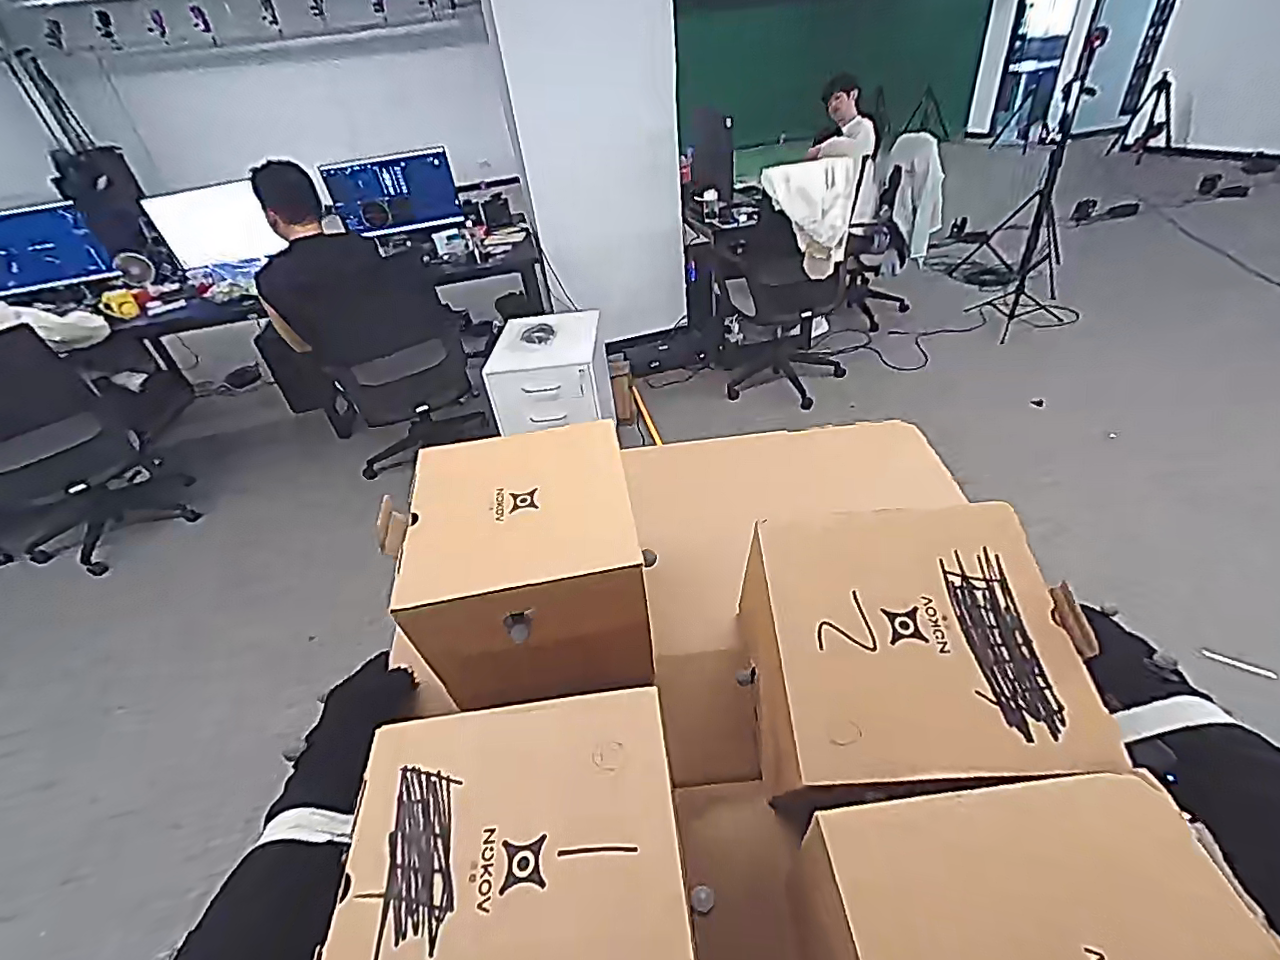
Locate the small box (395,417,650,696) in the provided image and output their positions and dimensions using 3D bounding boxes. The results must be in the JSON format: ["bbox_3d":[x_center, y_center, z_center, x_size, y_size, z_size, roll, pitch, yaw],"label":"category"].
[{"bbox_3d":[-0.089,0.070,0.488,0.179,0.176,0.168,-11,45,-3],"label":"small box"}]
